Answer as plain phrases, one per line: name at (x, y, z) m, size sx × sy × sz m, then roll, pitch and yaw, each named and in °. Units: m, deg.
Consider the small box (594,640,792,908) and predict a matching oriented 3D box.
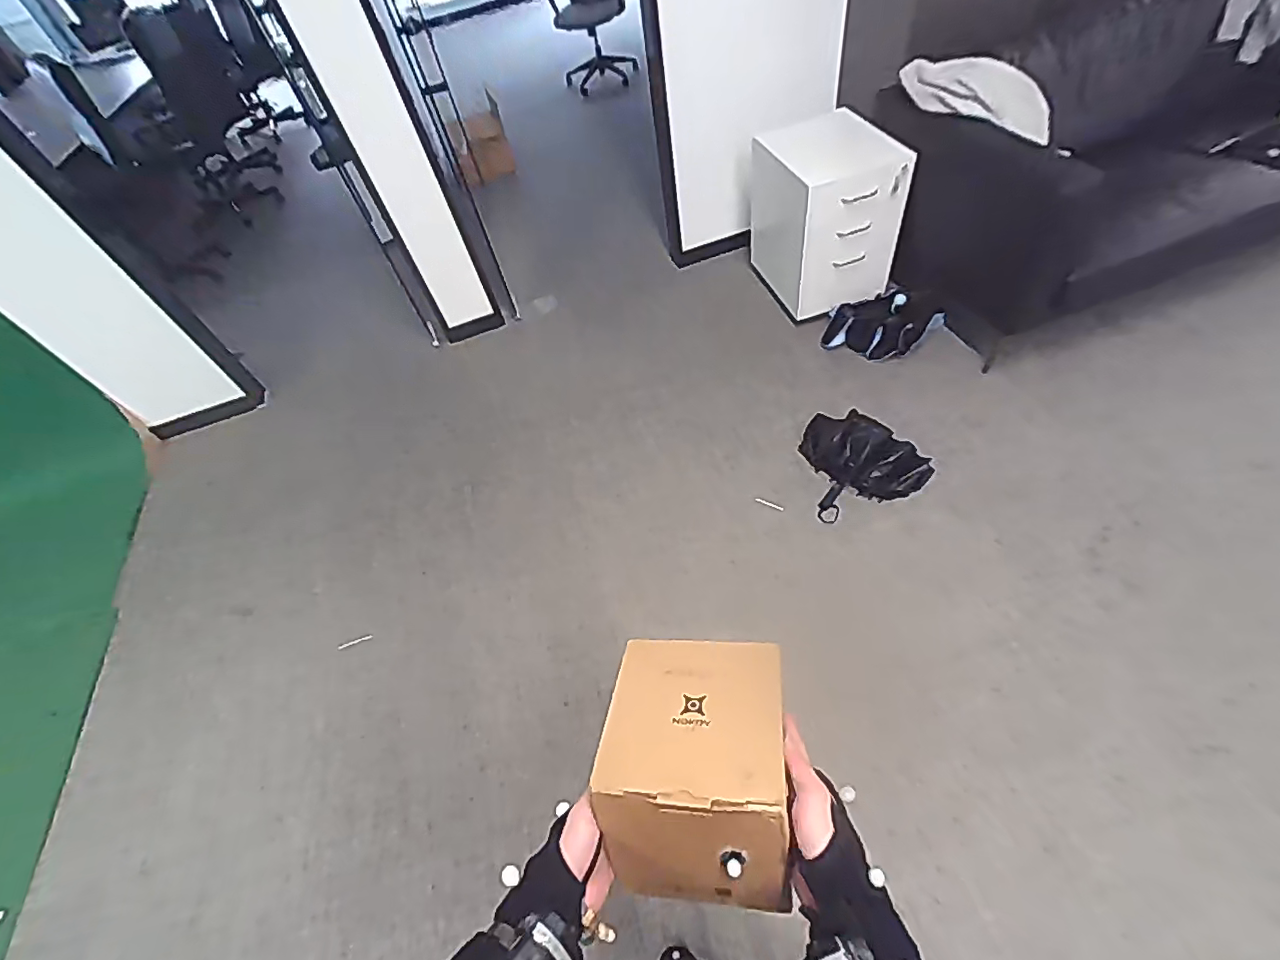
small box at (0.065, 0.288, 0.548) m, size 0.168 × 0.176 × 0.179 m, roll -1°, pitch 27°, yaw 13°
